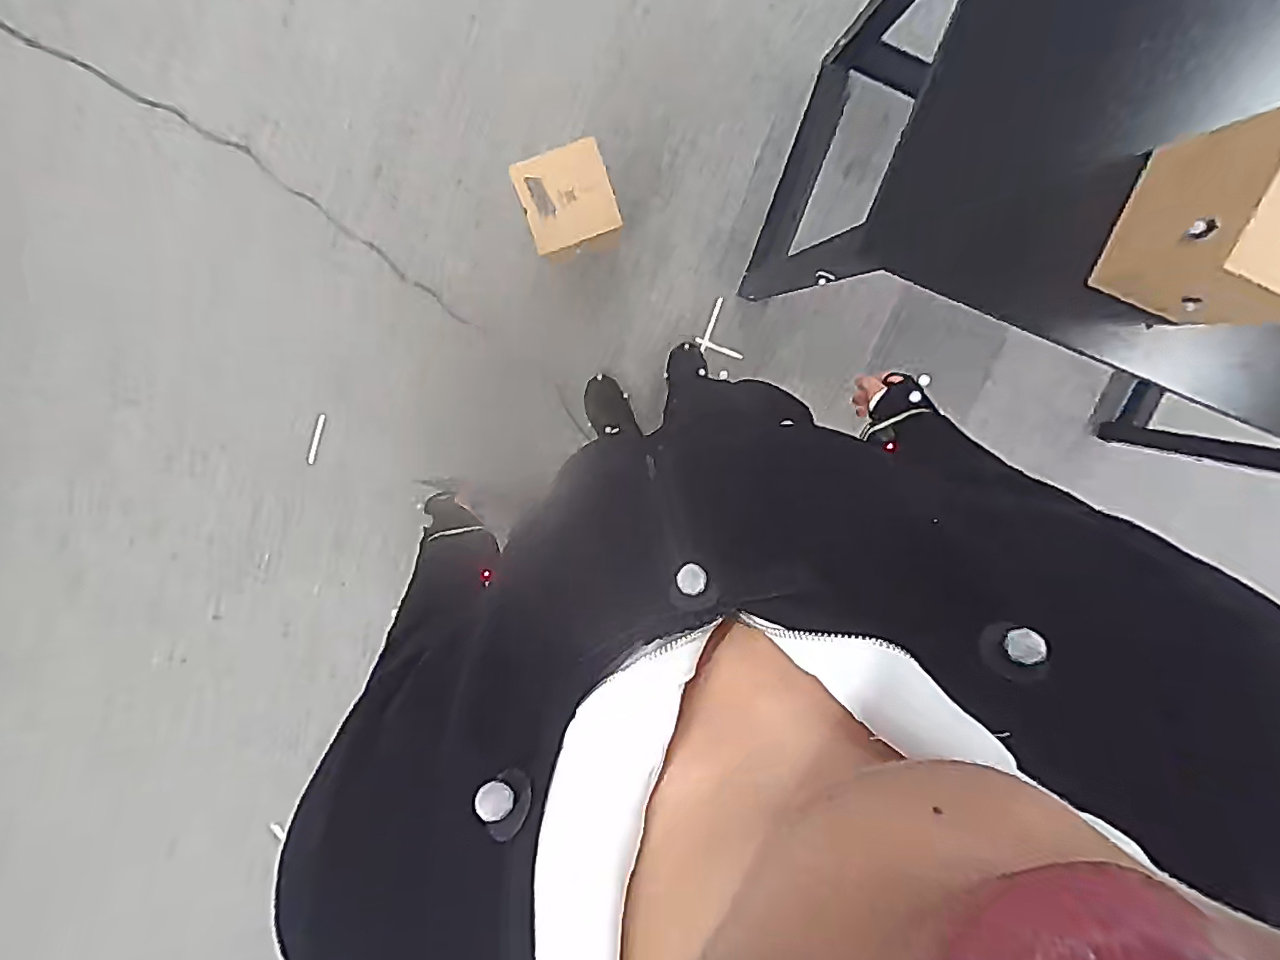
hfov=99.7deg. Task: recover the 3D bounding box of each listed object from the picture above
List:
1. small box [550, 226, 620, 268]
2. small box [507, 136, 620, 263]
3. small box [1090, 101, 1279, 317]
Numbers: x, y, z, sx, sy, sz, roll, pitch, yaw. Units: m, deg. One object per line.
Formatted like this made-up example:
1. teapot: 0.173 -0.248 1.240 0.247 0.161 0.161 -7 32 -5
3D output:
1. small box: -0.161 -0.616 1.265 0.179 0.176 0.168 -21 105 1
2. small box: -0.148 -0.562 1.108 0.179 0.176 0.168 -20 105 1
3. small box: 0.706 -0.306 0.652 0.168 0.176 0.179 18 102 -9
